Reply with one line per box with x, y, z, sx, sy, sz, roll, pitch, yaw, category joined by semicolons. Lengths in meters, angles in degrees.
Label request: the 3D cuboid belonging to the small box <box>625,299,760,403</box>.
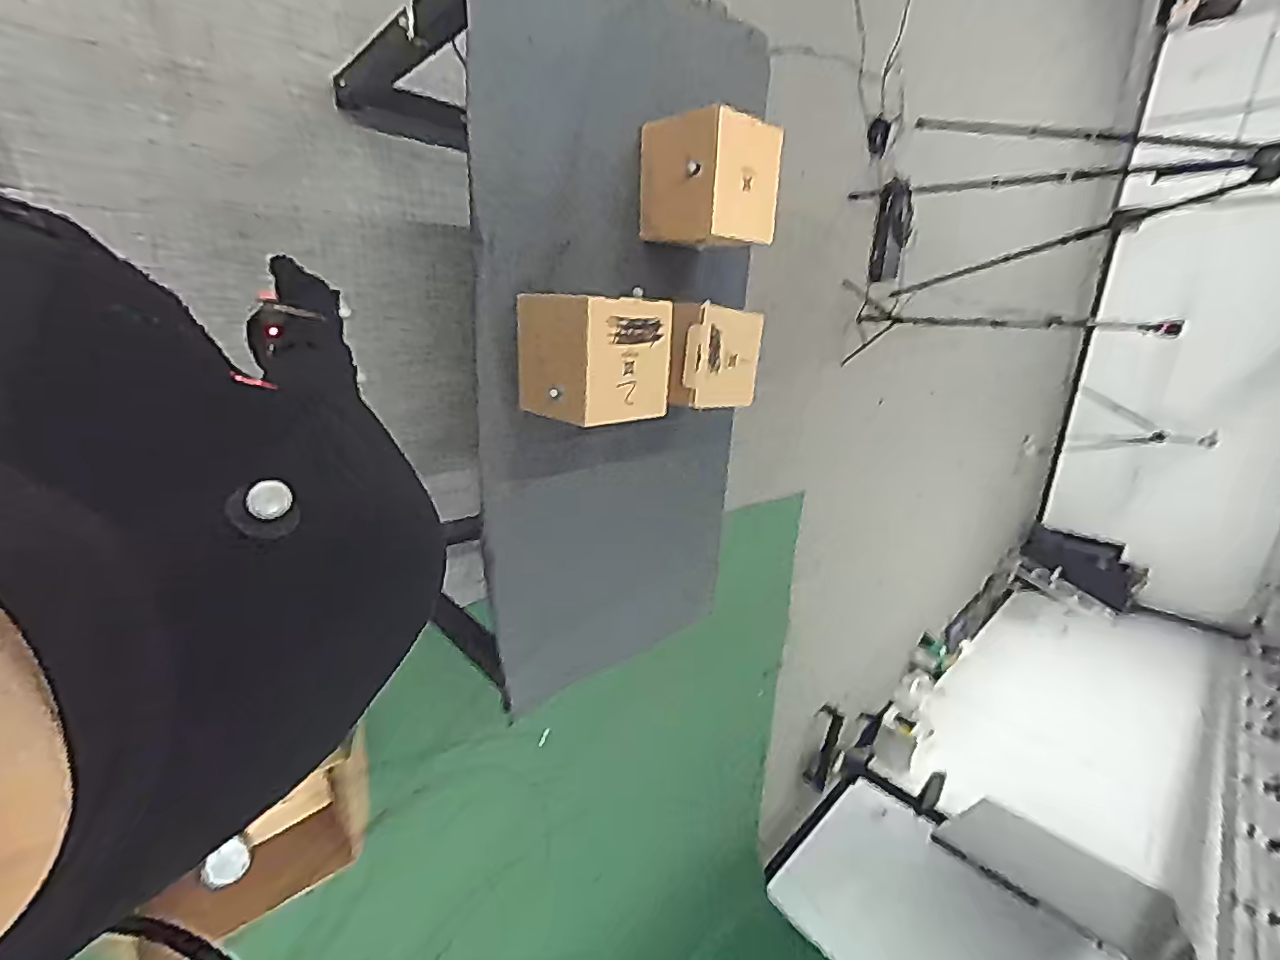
0.091;-0.235;0.988;0.179;0.176;0.168;-8;111;-44;small box
